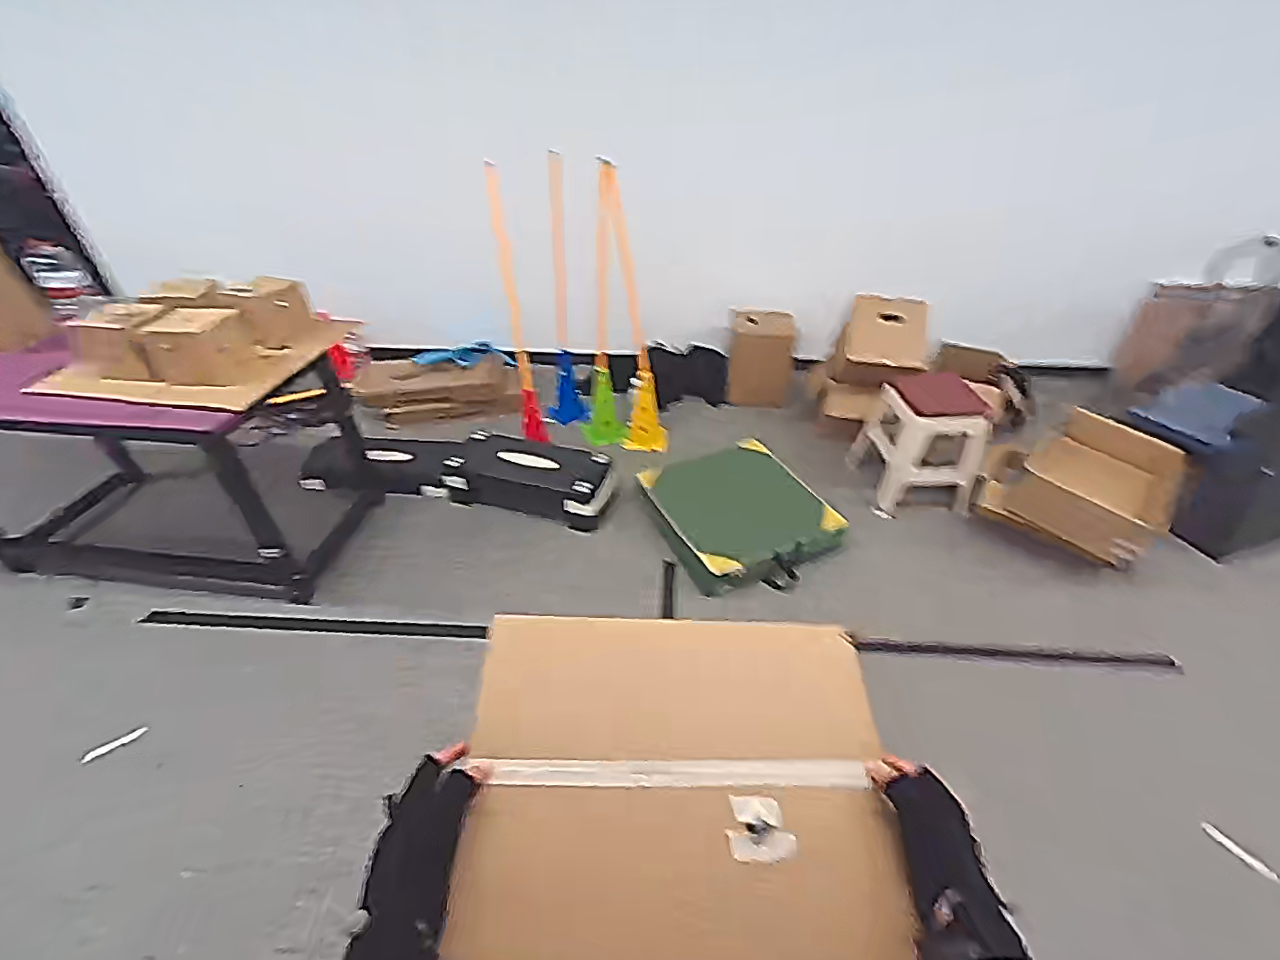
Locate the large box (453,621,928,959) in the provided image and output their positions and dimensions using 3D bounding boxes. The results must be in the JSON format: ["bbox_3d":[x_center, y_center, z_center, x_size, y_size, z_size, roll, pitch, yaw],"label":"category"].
[{"bbox_3d":[0.031,0.384,0.645,0.408,0.320,0.320,3,50,-4],"label":"large box"}]
